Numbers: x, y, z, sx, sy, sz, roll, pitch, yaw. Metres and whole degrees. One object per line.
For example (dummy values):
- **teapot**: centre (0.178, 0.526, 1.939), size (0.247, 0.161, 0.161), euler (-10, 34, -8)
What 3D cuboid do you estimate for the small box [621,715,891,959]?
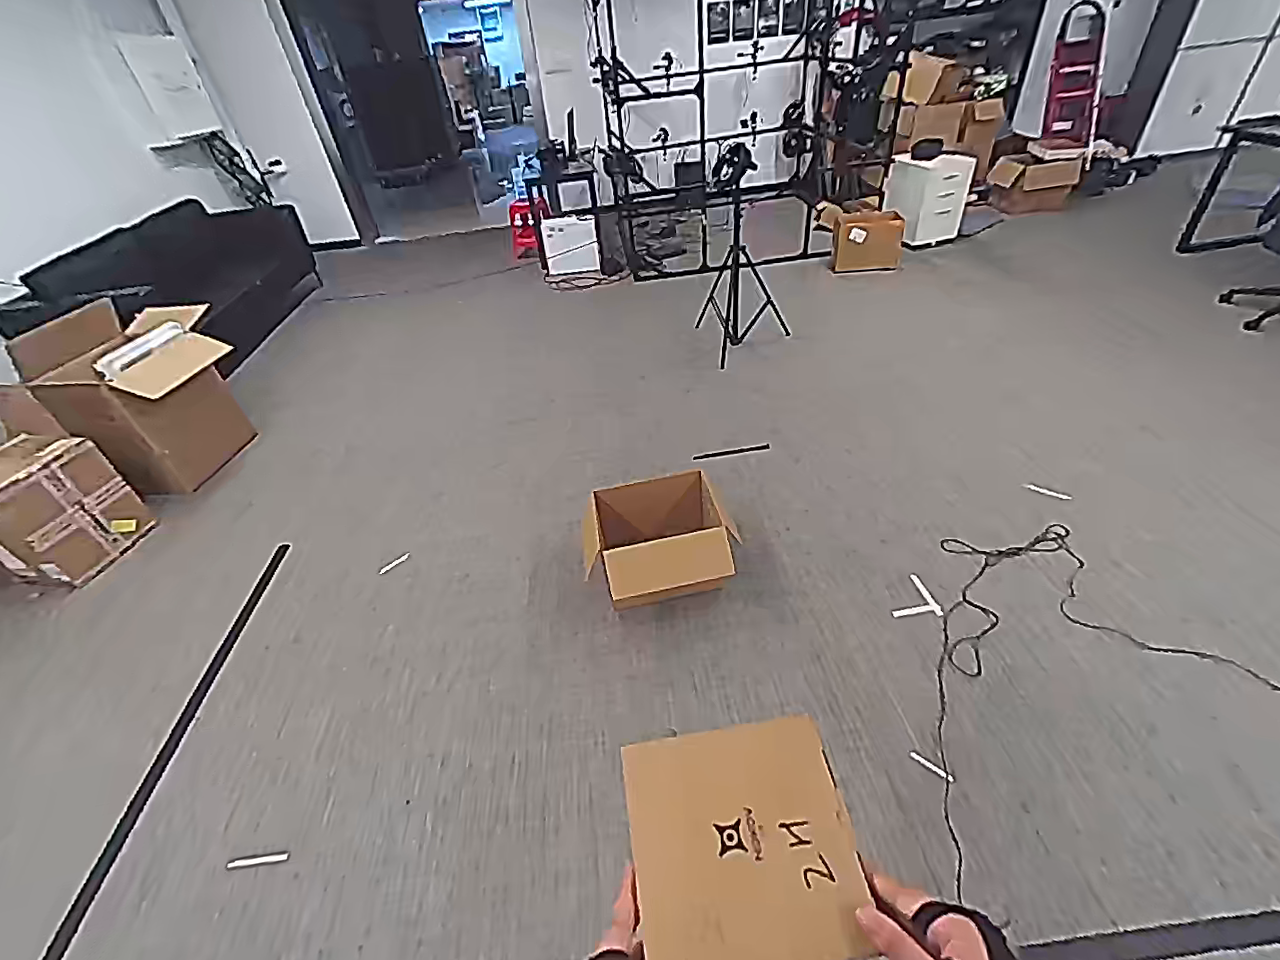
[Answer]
- **small box**: centre (0.085, 0.330, 0.481), size (0.179, 0.176, 0.168), euler (-8, 51, -2)
